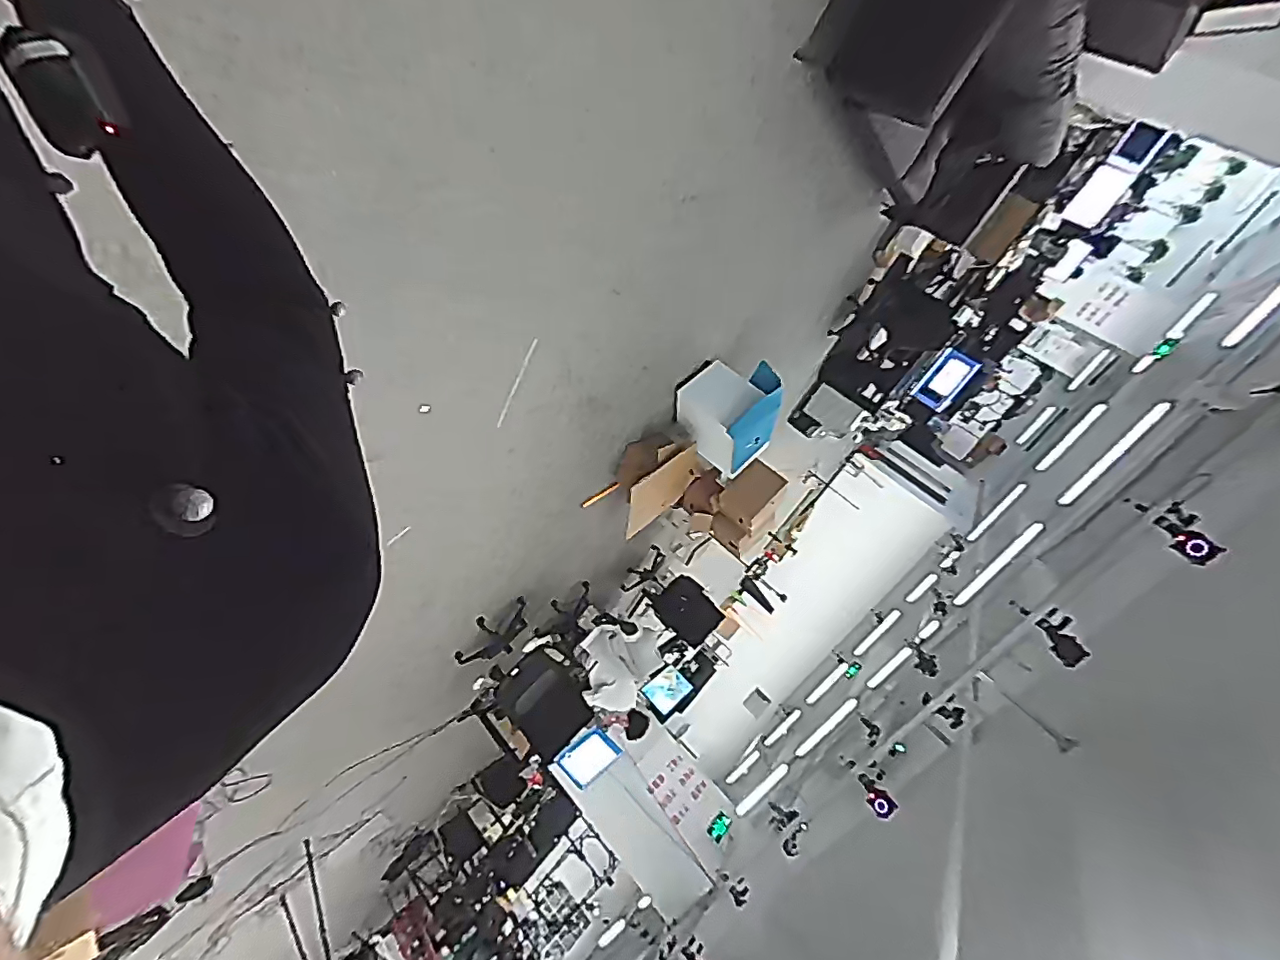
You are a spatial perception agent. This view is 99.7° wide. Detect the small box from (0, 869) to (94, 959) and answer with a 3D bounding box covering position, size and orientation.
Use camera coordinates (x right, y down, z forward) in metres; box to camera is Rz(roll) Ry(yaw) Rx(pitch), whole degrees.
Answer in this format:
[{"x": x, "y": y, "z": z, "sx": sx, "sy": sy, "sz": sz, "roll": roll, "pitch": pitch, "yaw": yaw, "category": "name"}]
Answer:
[{"x": -1.410, "y": 1.059, "z": 1.256, "sx": 0.168, "sy": 0.176, "sz": 0.179, "roll": -19, "pitch": 145, "yaw": -52, "category": "small box"}]
